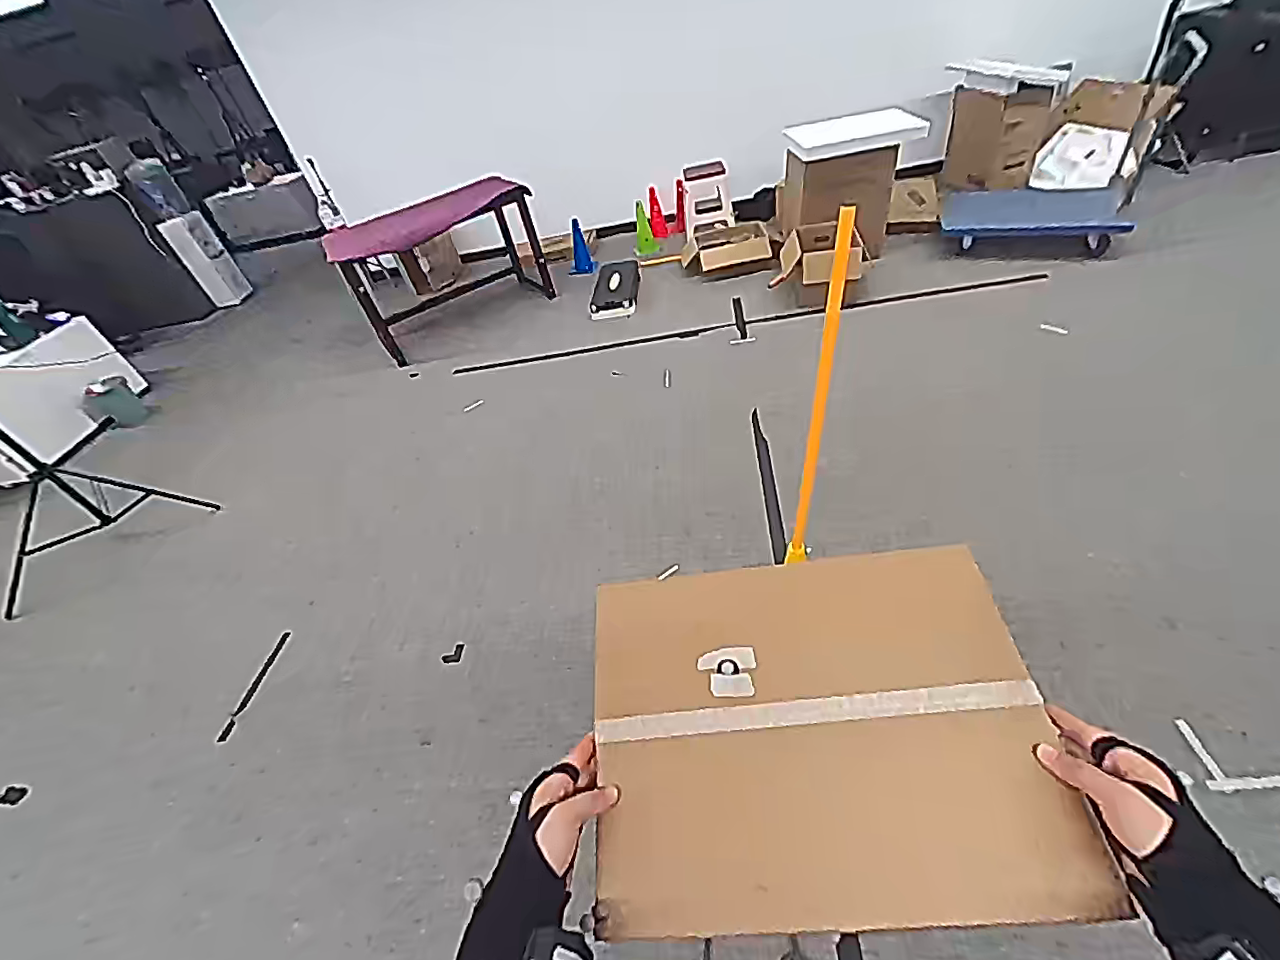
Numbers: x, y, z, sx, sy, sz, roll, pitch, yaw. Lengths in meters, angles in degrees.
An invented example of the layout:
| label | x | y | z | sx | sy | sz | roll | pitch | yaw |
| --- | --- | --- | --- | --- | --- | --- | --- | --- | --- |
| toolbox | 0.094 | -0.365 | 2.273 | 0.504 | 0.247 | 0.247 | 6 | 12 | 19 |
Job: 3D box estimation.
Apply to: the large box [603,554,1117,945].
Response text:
| label | x | y | z | sx | sy | sz | roll | pitch | yaw |
| --- | --- | --- | --- | --- | --- | --- | --- | --- | --- |
| large box | 0.189 | 0.319 | 0.634 | 0.408 | 0.320 | 0.320 | -9 | 51 | 7 |
